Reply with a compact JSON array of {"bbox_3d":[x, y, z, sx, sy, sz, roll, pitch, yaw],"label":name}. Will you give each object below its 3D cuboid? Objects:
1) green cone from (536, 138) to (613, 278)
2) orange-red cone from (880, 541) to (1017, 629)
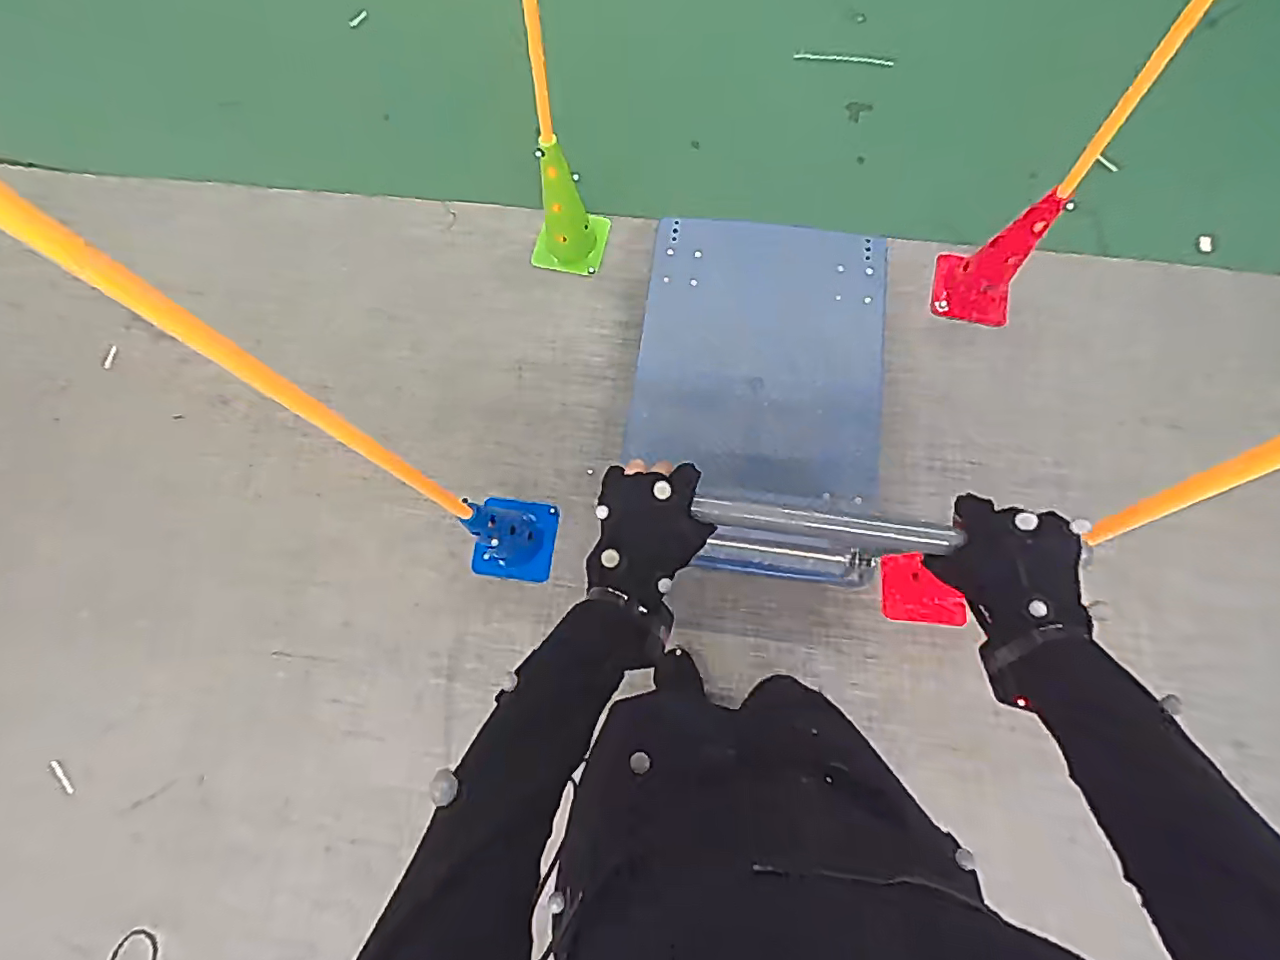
[{"bbox_3d":[-0.202,-0.735,1.427,0.202,0.368,0.200,11,76,6],"label":"green cone"},{"bbox_3d":[0.678,0.210,1.155,0.199,0.360,0.198,6,75,6],"label":"orange-red cone"}]
